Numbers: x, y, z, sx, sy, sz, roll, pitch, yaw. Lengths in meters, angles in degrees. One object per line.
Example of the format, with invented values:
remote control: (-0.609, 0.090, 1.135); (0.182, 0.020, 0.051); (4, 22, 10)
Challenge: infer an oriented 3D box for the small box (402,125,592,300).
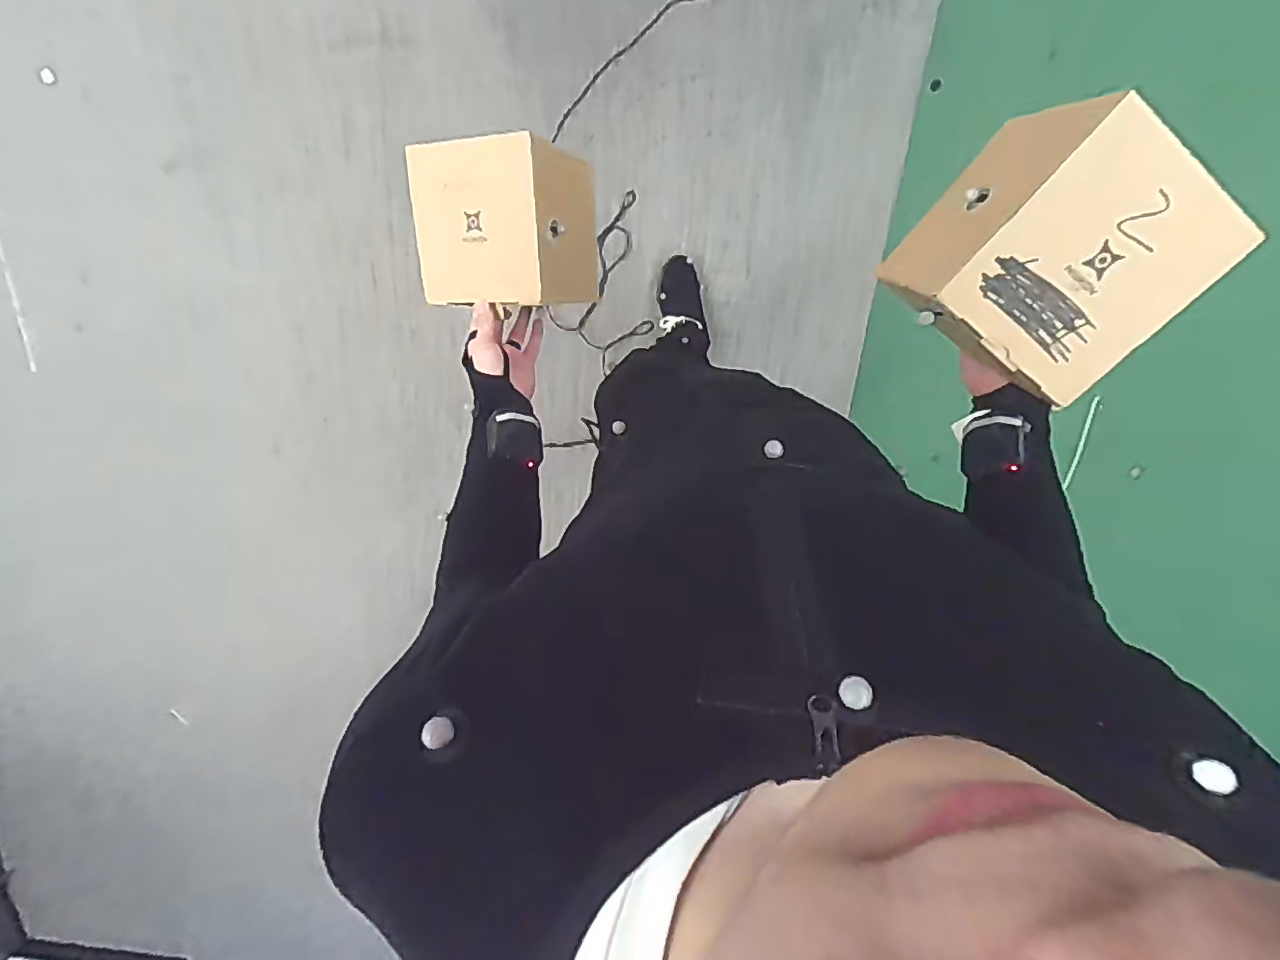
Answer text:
small box: (-0.167, -0.325, 0.687); (0.168, 0.176, 0.179); (7, 110, 18)
